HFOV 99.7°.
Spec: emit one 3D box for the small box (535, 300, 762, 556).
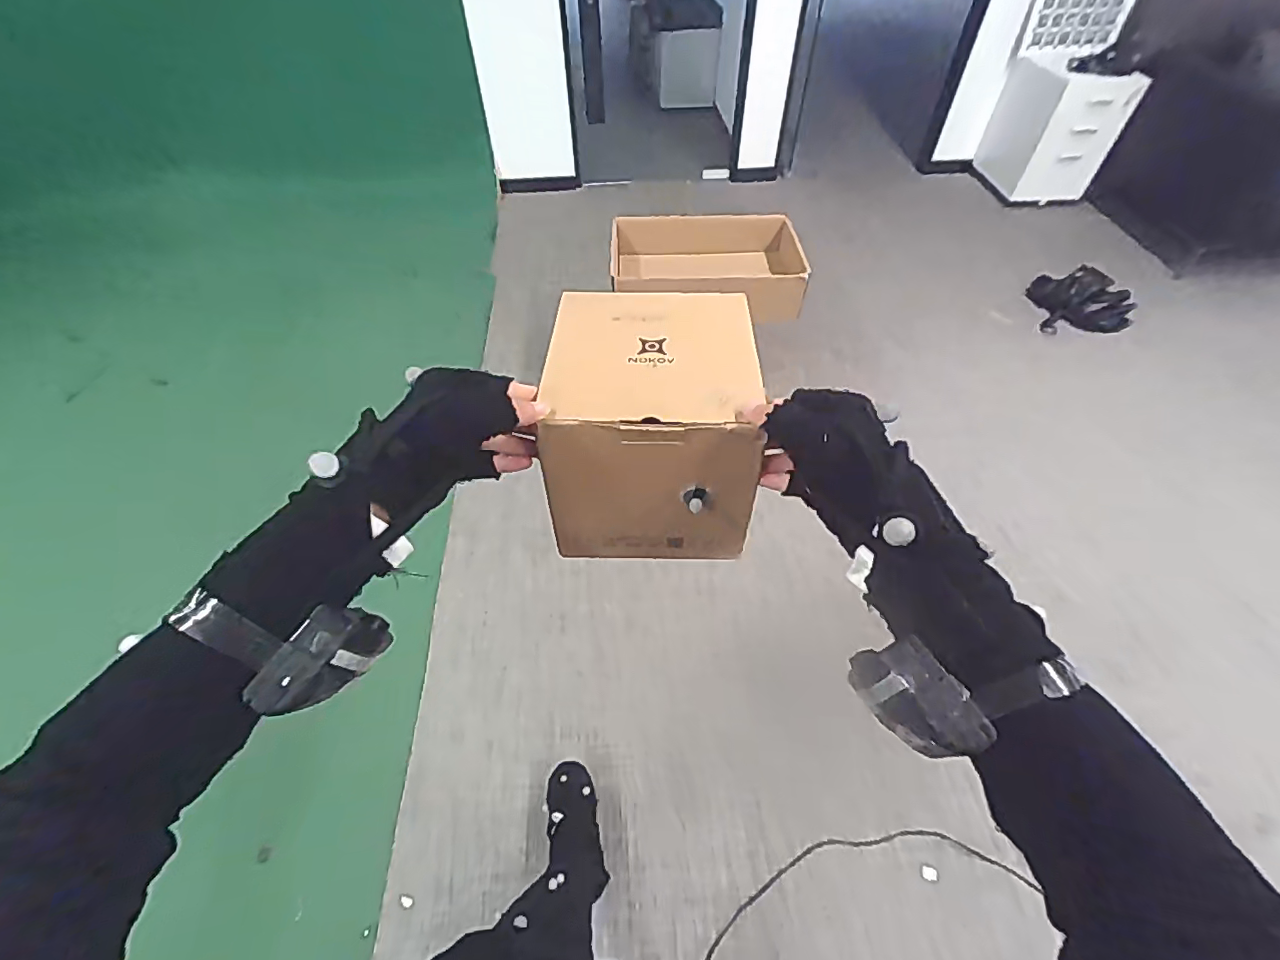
[{"bbox_3d":[0.009,-0.045,0.494,0.168,0.176,0.179,1,46,1],"label":"small box"}]
